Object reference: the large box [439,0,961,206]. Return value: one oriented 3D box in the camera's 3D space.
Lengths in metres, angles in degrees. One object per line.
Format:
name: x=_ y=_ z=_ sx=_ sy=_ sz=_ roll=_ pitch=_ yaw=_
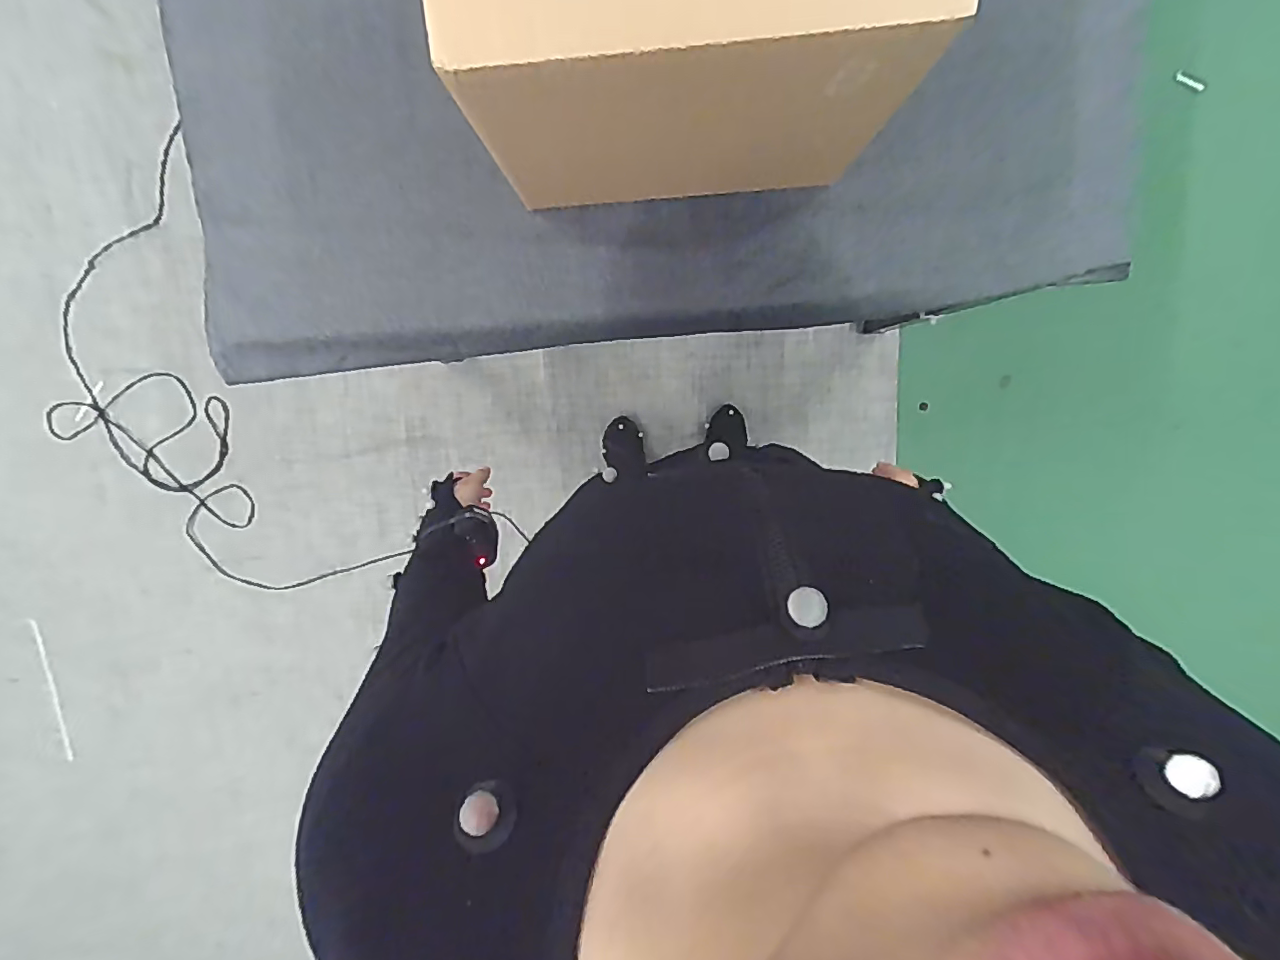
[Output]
large box: x=0.033 y=-0.504 z=0.540 sx=0.408 sy=0.320 sz=0.320 roll=-5 pitch=99 yaw=1
